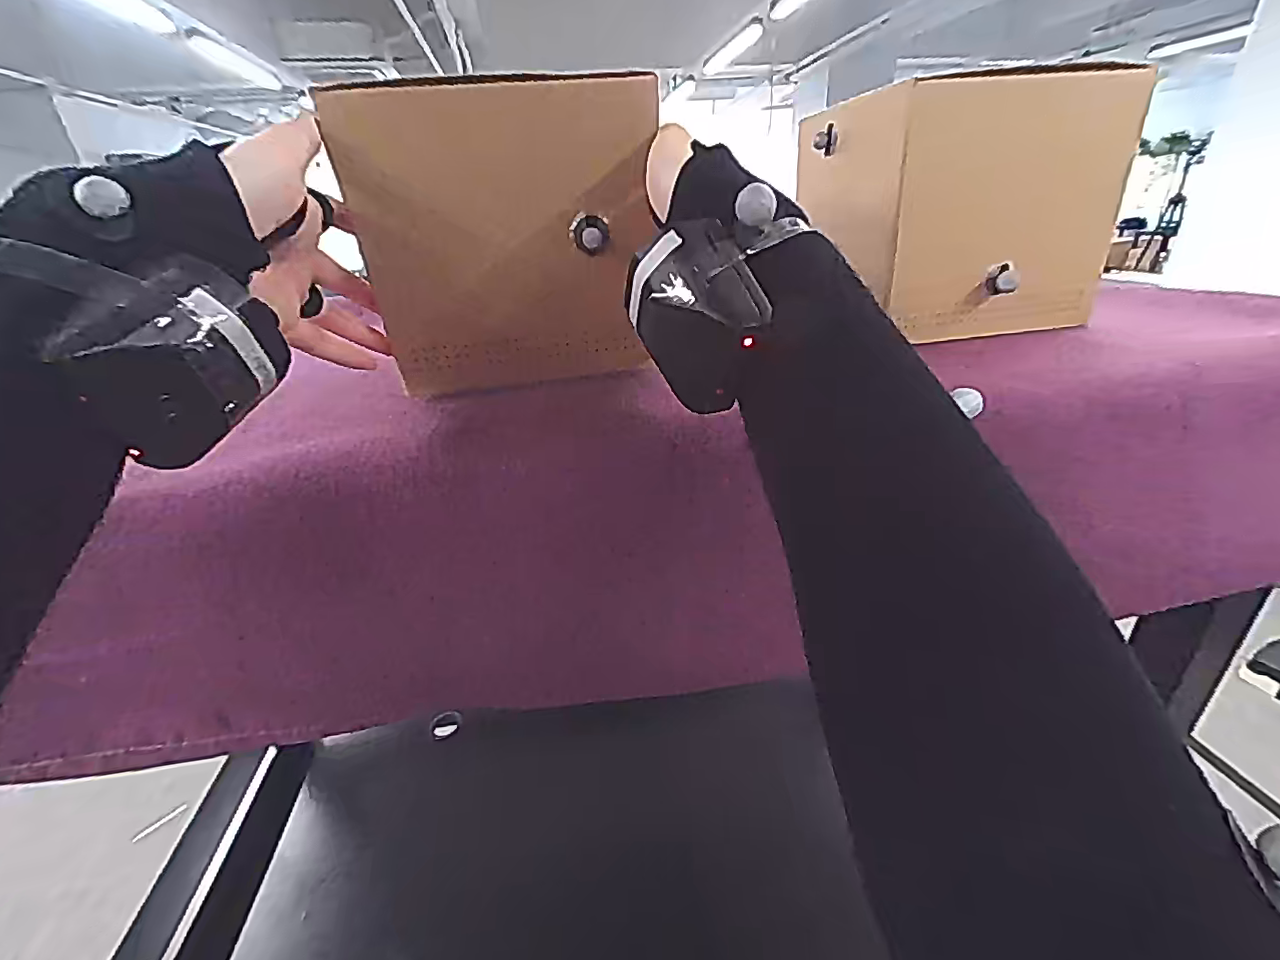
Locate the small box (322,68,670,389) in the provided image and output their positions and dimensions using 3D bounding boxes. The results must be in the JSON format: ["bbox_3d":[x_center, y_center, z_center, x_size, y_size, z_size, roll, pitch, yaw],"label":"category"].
[{"bbox_3d":[-0.081,-0.179,0.382,0.179,0.176,0.168,-9,35,-7],"label":"small box"}]

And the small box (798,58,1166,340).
[{"bbox_3d":[0.245,-0.217,0.440,0.179,0.176,0.168,-7,26,-7],"label":"small box"}]
